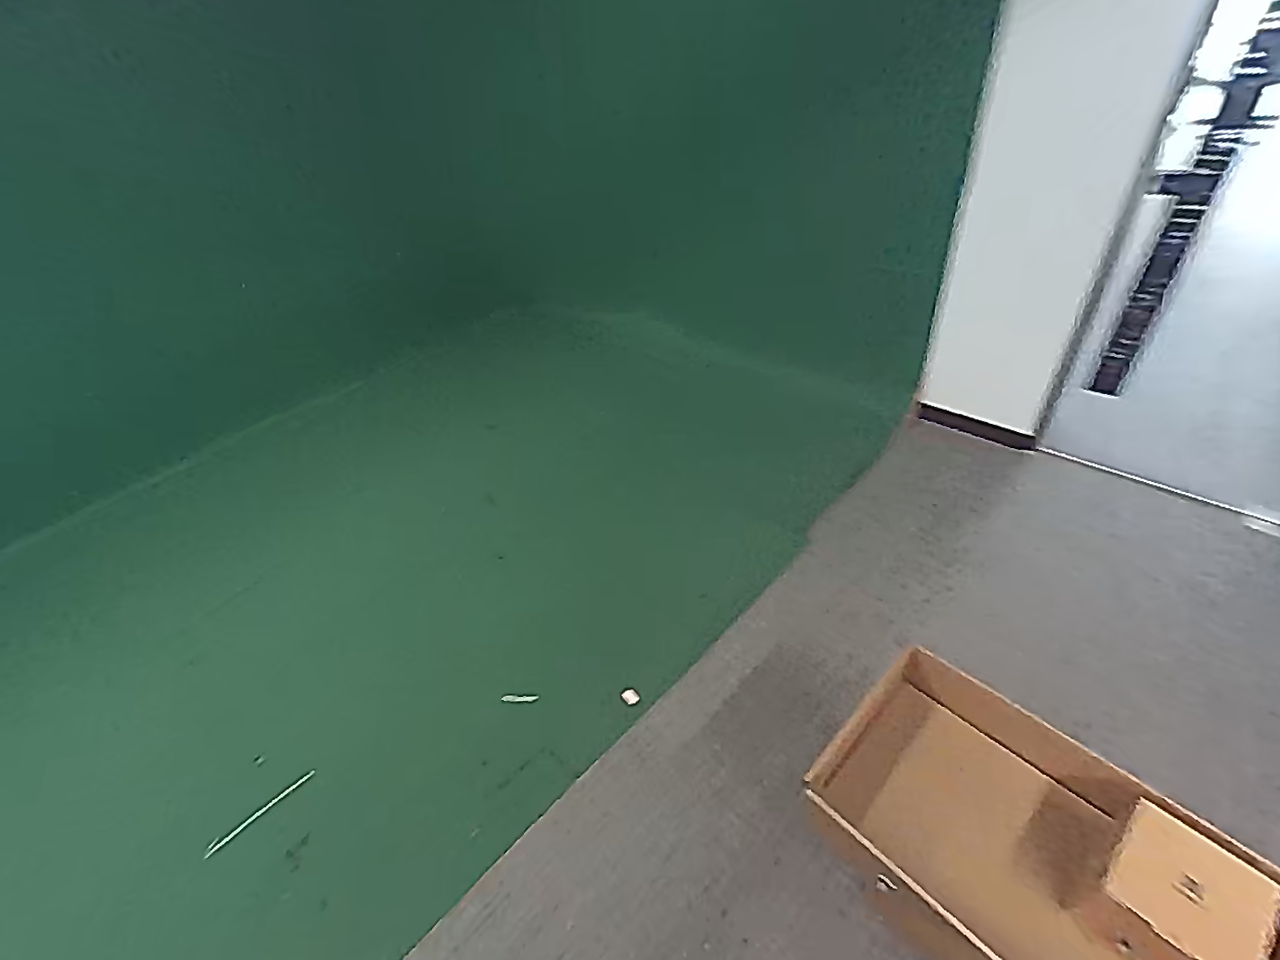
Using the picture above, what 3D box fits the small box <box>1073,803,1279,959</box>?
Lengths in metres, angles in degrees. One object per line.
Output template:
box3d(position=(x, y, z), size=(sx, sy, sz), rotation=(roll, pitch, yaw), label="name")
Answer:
box3d(position=(0.814, 0.649, 0.831), size=(0.179, 0.176, 0.168), rotation=(-36, 48, -24), label="small box")
